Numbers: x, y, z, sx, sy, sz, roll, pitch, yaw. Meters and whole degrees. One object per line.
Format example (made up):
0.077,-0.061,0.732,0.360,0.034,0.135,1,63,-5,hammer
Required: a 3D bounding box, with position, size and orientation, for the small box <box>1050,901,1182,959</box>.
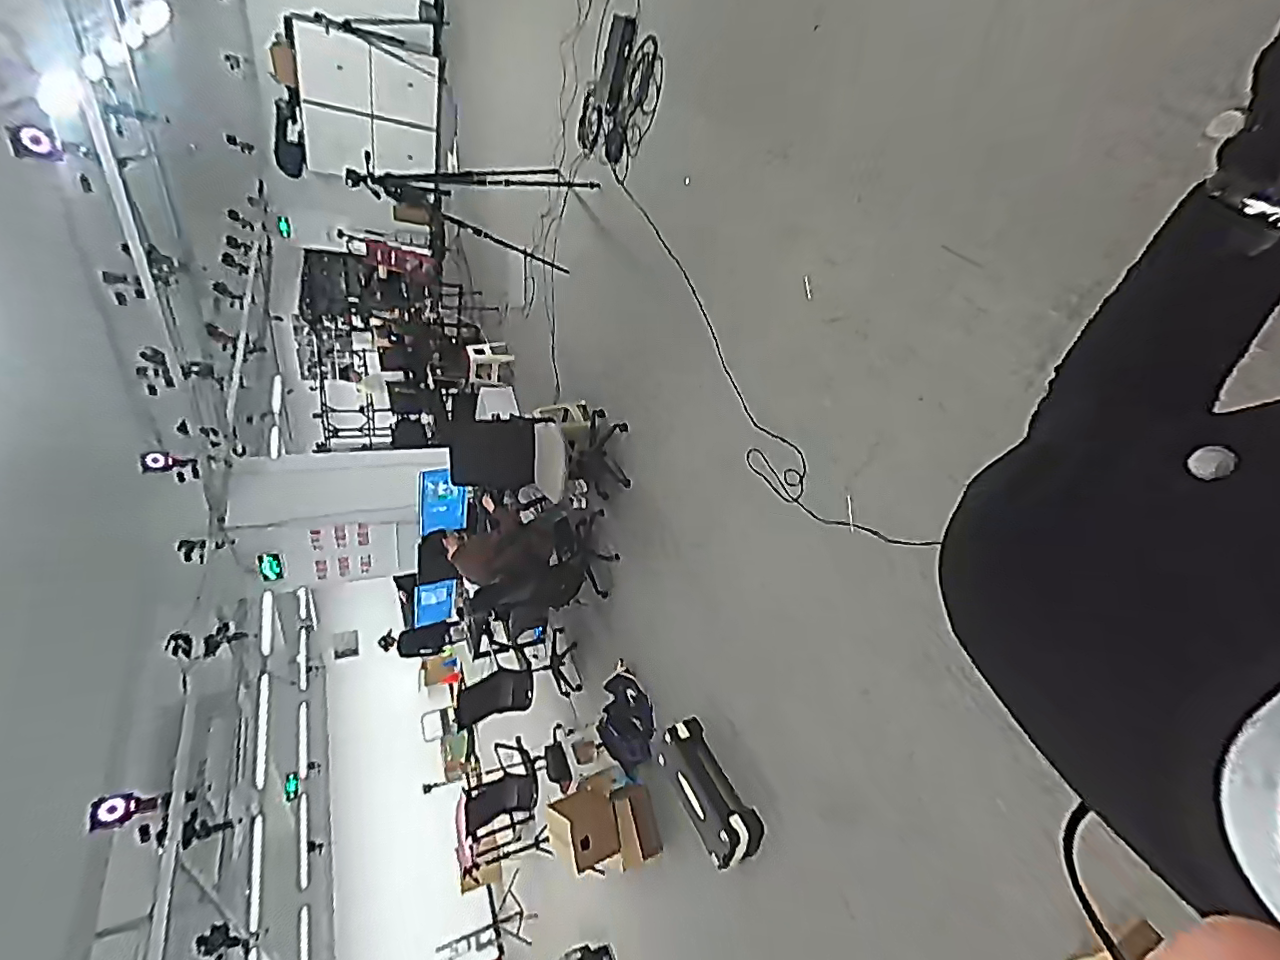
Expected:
1.168,1.176,1.315,0.168,0.176,0.179,53,138,40,small box
